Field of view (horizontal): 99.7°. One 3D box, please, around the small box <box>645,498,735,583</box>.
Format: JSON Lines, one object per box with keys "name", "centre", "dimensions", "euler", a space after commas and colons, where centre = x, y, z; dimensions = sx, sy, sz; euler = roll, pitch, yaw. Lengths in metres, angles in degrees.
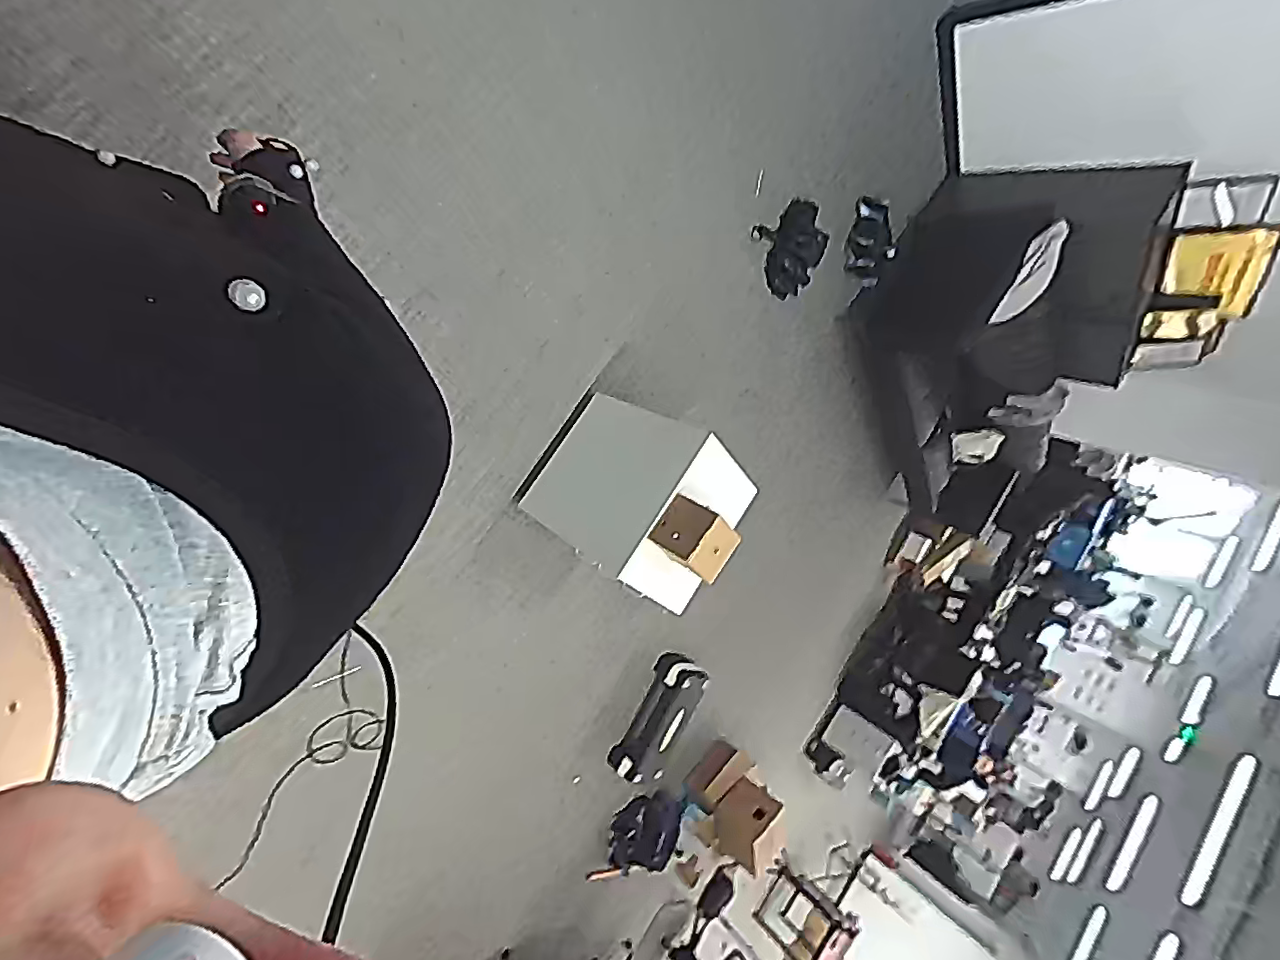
{"name": "small box", "centre": [0.145, 0.171, 1.584], "dimensions": [0.168, 0.176, 0.179], "euler": [-55, 140, -9]}
